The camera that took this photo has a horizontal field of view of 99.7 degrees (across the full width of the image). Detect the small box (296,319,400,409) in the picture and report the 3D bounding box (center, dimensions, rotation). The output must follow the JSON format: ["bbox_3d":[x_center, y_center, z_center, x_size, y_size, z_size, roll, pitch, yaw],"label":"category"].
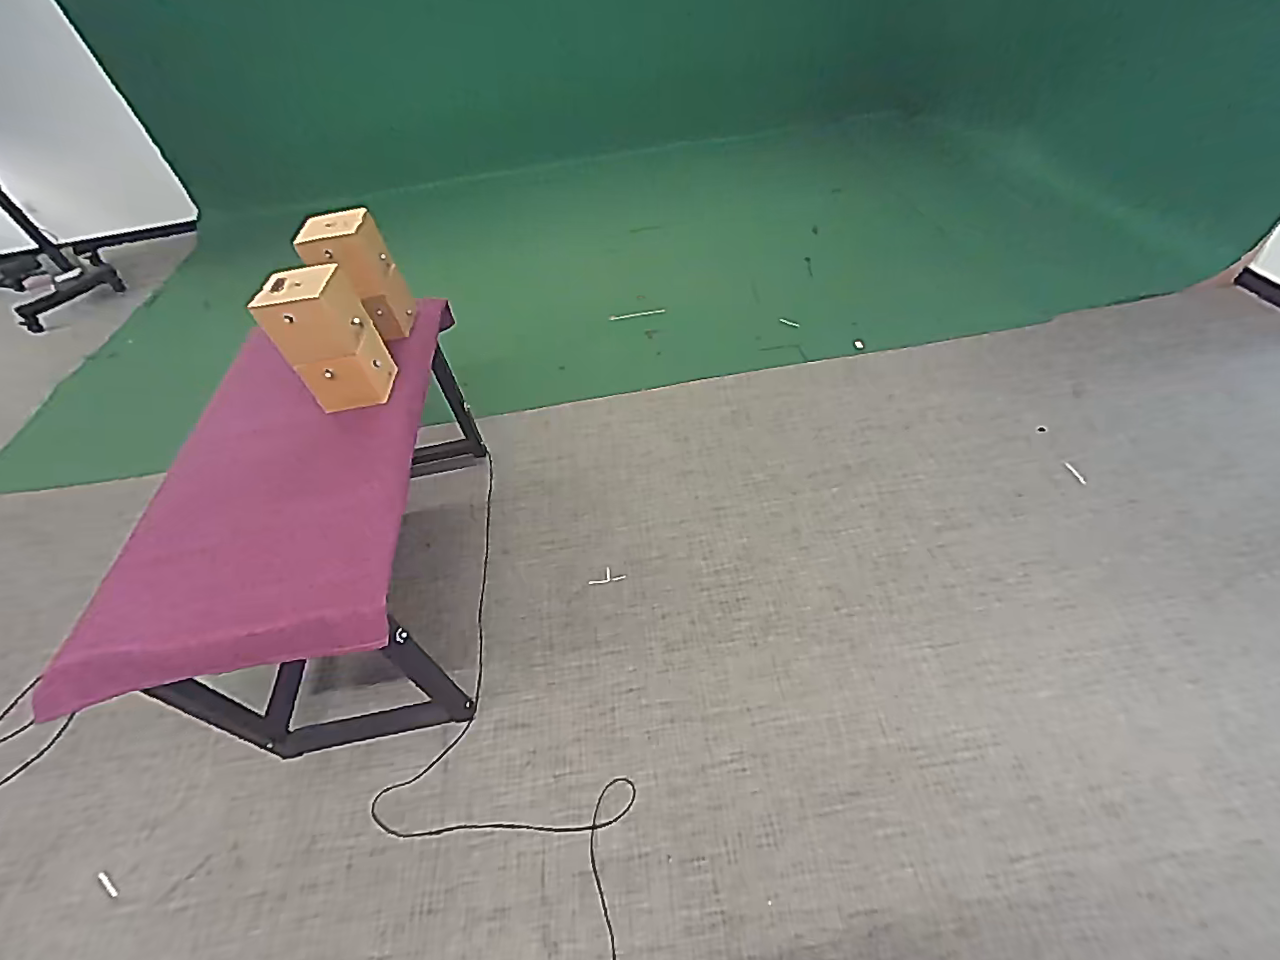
[{"bbox_3d":[-0.795,-0.318,1.497,0.179,0.176,0.168,-9,49,3],"label":"small box"}]

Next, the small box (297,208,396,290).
[{"bbox_3d":[-0.853,-0.669,1.587,0.179,0.176,0.168,-9,50,1],"label":"small box"}]

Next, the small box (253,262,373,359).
[{"bbox_3d":[-0.819,-0.425,1.375,0.179,0.176,0.168,-8,49,3],"label":"small box"}]
